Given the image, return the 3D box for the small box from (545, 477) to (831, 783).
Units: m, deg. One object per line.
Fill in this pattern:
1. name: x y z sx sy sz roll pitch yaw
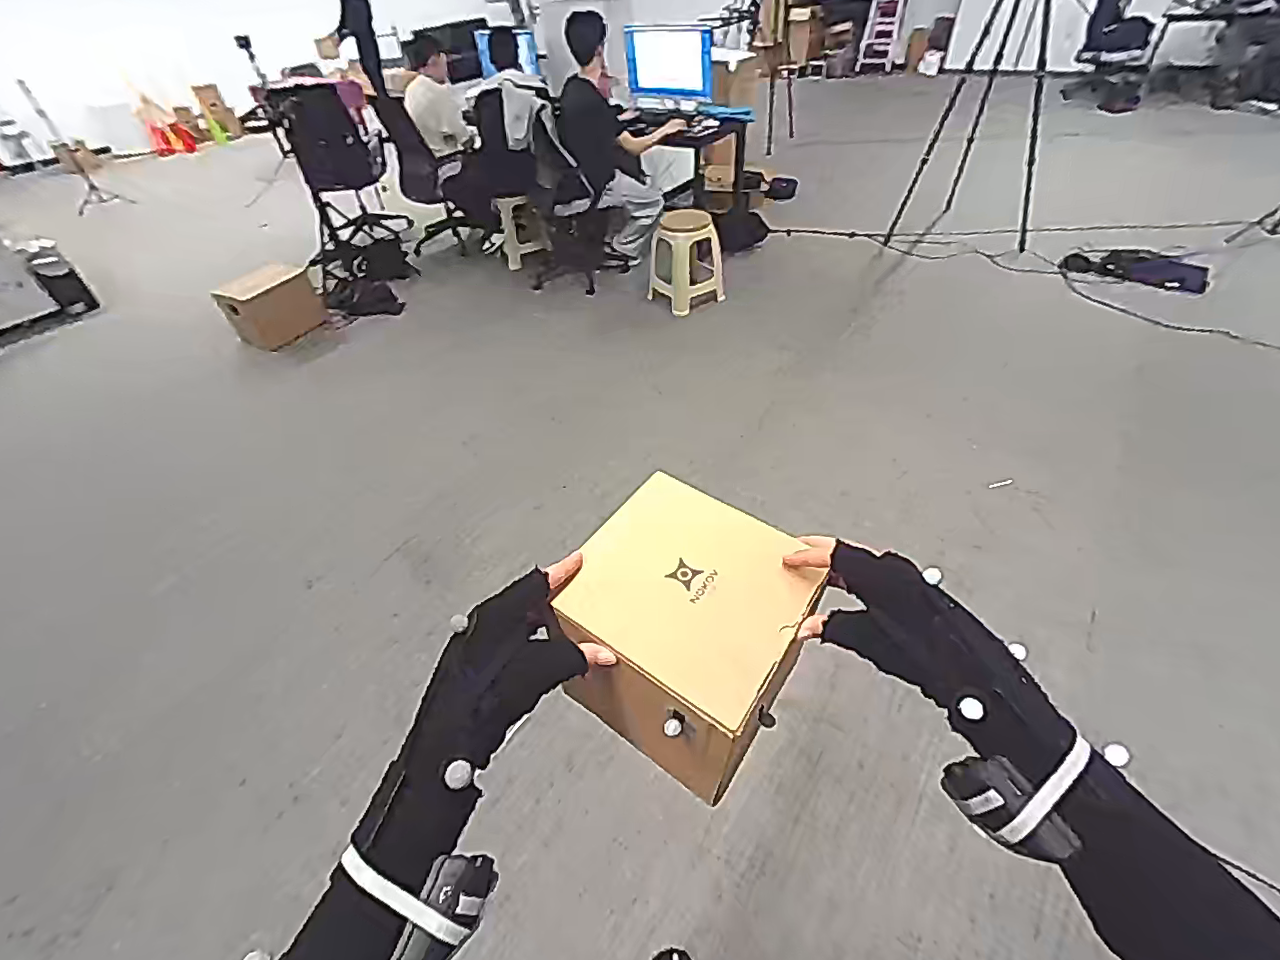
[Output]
1. small box: 0.039 0.135 0.488 0.179 0.176 0.168 28 52 24
